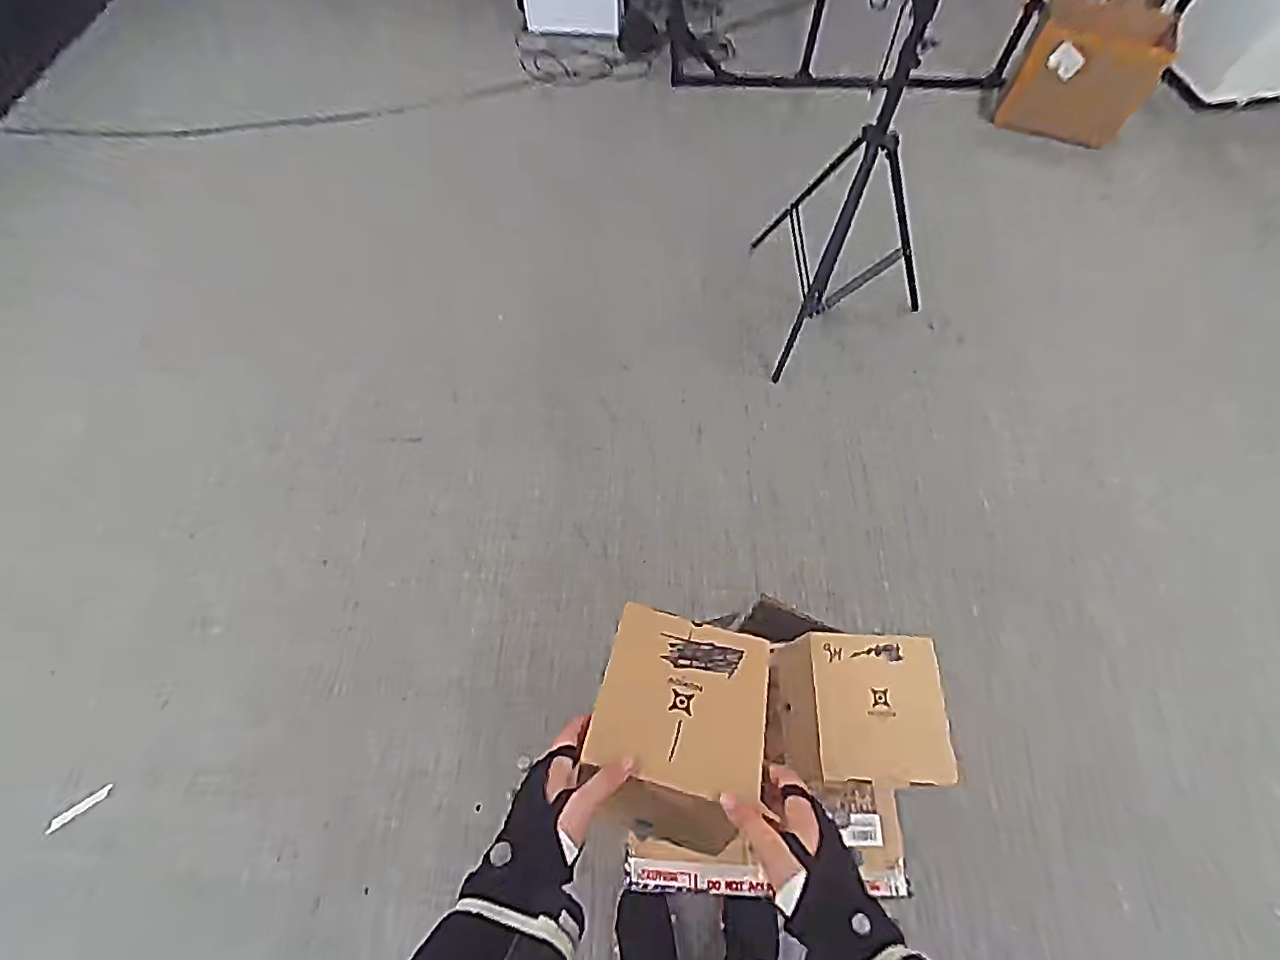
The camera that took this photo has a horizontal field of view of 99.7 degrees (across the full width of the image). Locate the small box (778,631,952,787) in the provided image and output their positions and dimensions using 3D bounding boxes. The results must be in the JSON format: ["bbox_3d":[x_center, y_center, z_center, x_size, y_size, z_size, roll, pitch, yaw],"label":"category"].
[{"bbox_3d":[0.295,0.314,0.751,0.168,0.176,0.179,3,66,0],"label":"small box"}]

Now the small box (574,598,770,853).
[{"bbox_3d":[0.031,0.263,0.579,0.168,0.176,0.179,15,45,4],"label":"small box"}]
